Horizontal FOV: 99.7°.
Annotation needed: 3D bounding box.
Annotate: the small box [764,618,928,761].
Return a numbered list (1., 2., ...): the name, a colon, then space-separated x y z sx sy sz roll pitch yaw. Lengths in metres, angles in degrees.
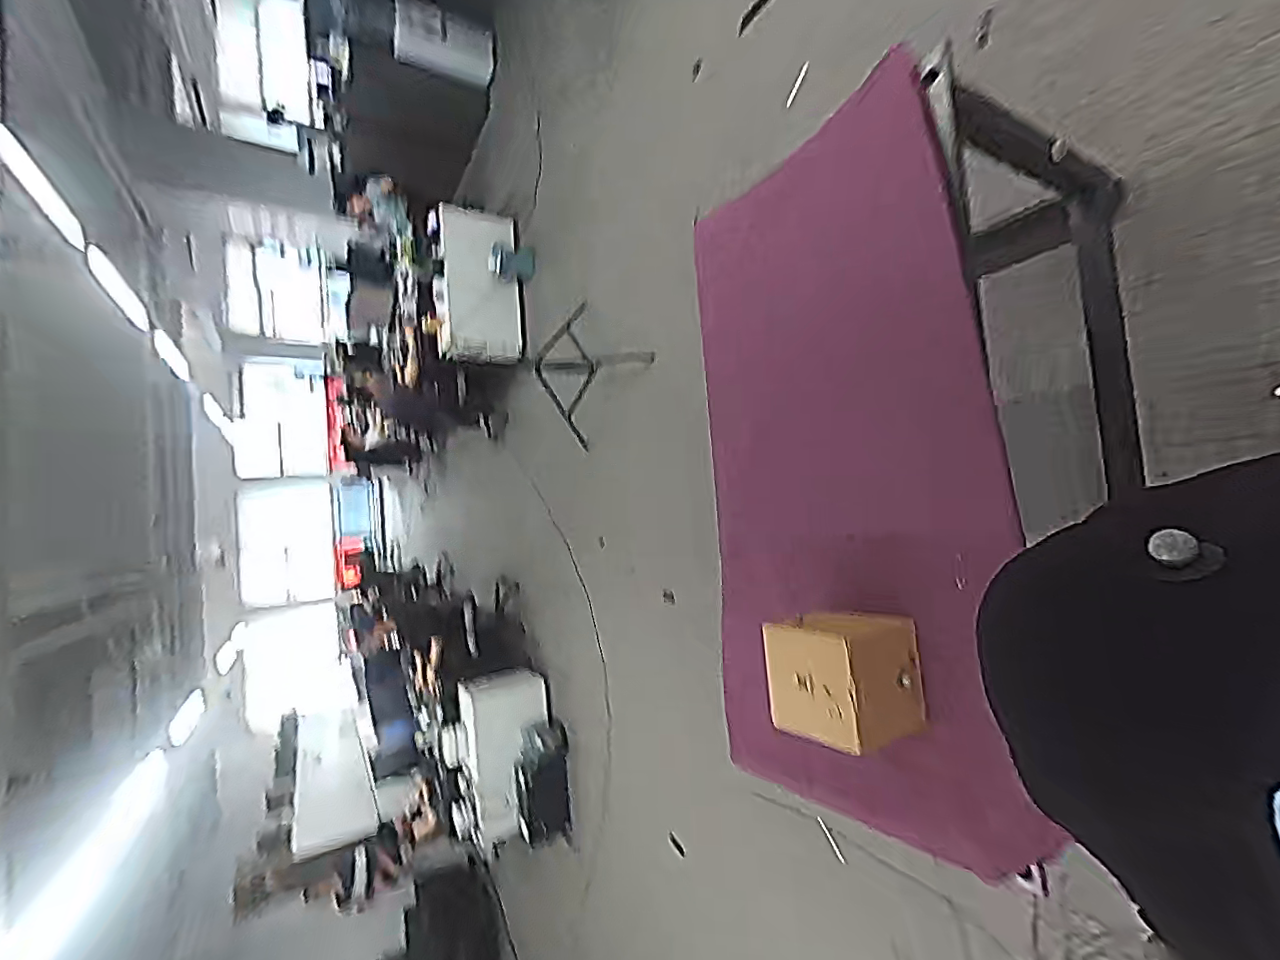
1. small box: 0.328 0.323 0.875 0.179 0.176 0.168 -14 79 58
